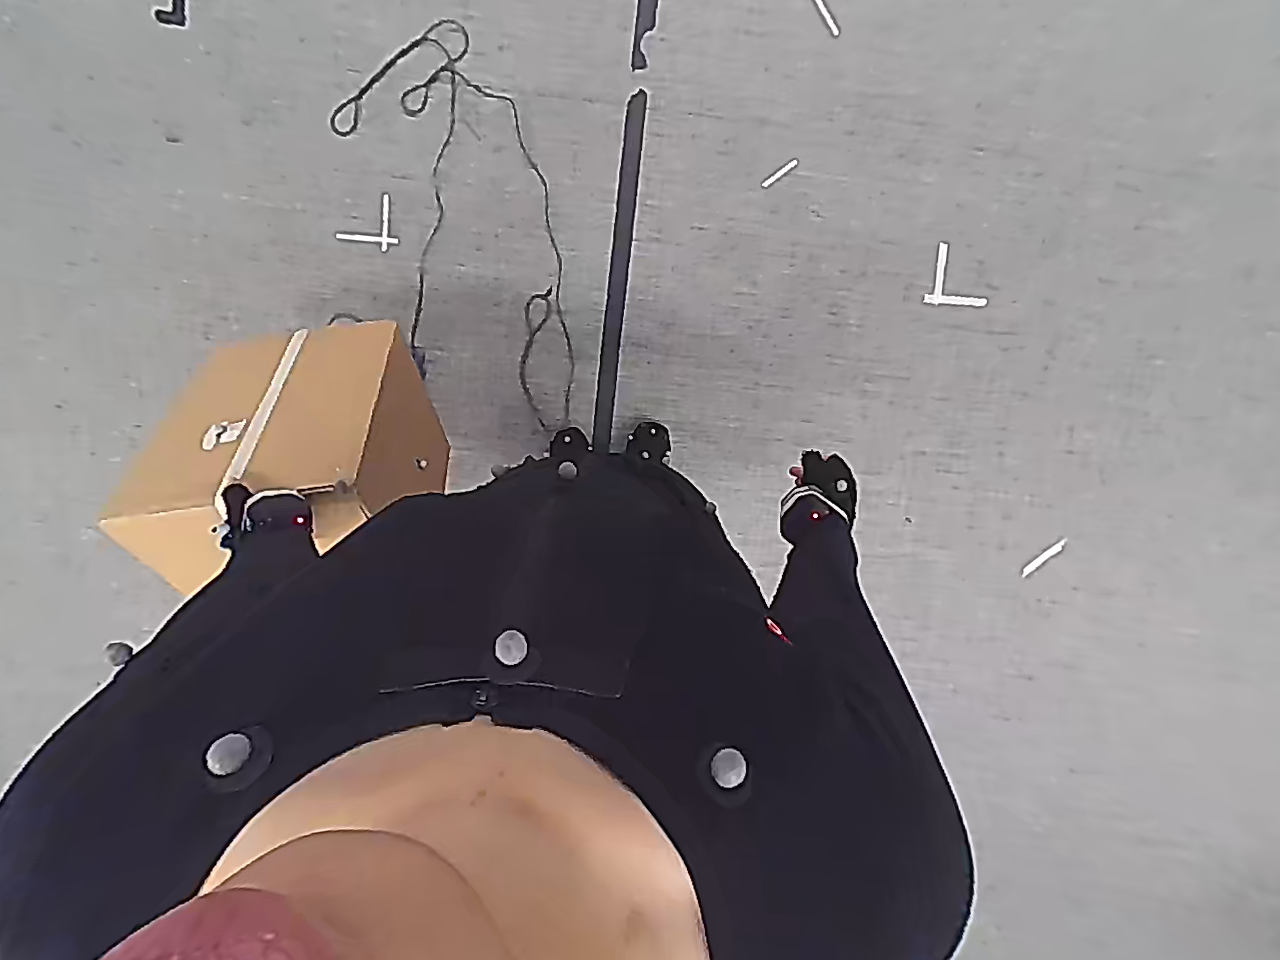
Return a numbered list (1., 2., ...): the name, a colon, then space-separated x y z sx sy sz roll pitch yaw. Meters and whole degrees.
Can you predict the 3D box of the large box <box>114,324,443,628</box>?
1. large box: -0.545 -0.016 0.932 0.320 0.408 0.320 -9 138 -5
